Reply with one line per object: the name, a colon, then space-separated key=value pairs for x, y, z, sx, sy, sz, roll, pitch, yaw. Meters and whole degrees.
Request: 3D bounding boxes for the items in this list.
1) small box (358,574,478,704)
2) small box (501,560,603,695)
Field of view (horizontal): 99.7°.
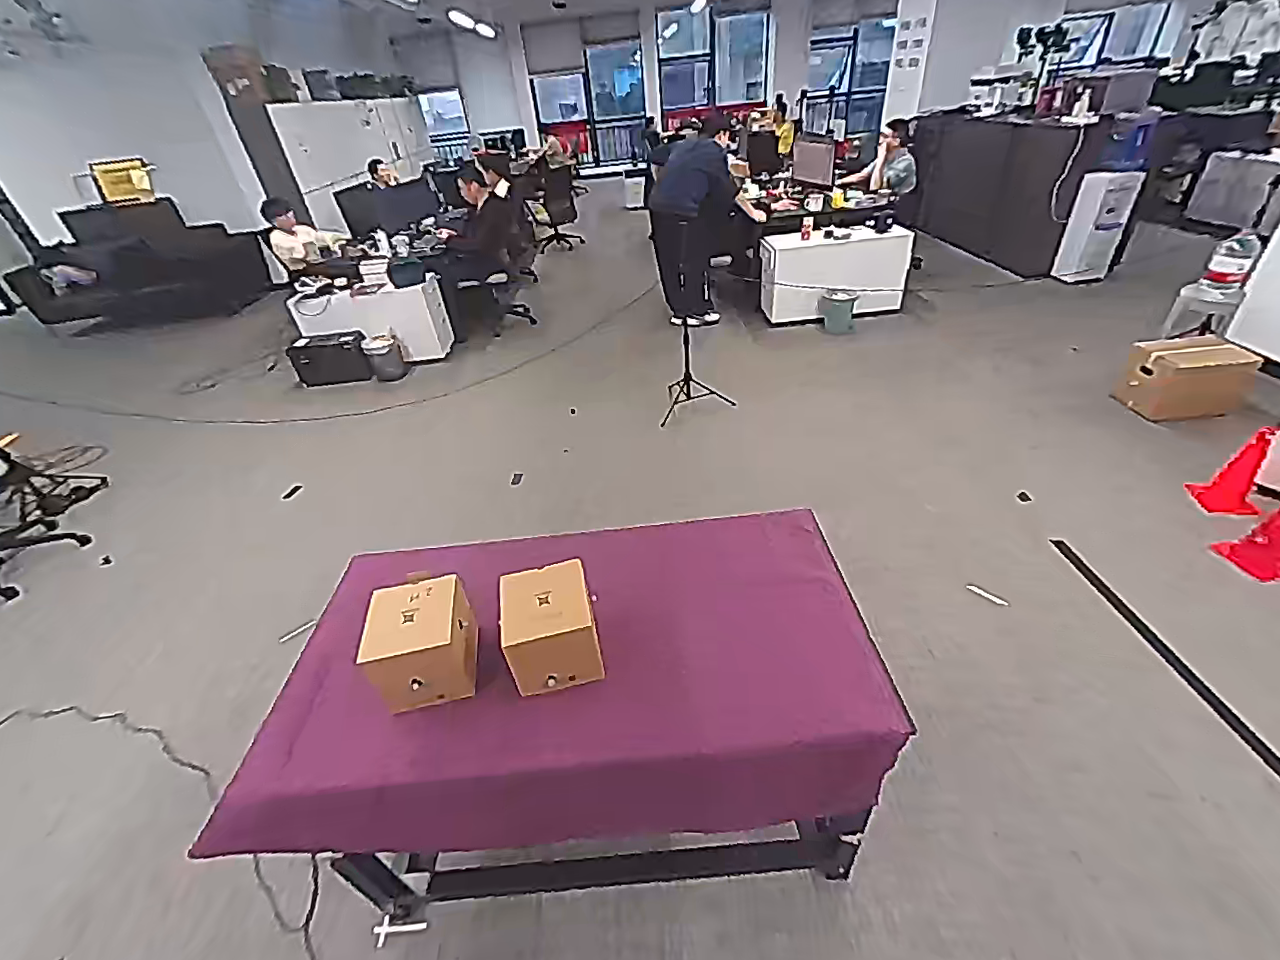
small box: x=-0.425 y=0.319 z=1.069 sx=0.168 sy=0.176 sz=0.179 roll=-10 pitch=36 yaw=-6
small box: x=-0.174 y=0.290 z=1.073 sx=0.168 sy=0.176 sz=0.179 roll=-12 pitch=36 yaw=-6
